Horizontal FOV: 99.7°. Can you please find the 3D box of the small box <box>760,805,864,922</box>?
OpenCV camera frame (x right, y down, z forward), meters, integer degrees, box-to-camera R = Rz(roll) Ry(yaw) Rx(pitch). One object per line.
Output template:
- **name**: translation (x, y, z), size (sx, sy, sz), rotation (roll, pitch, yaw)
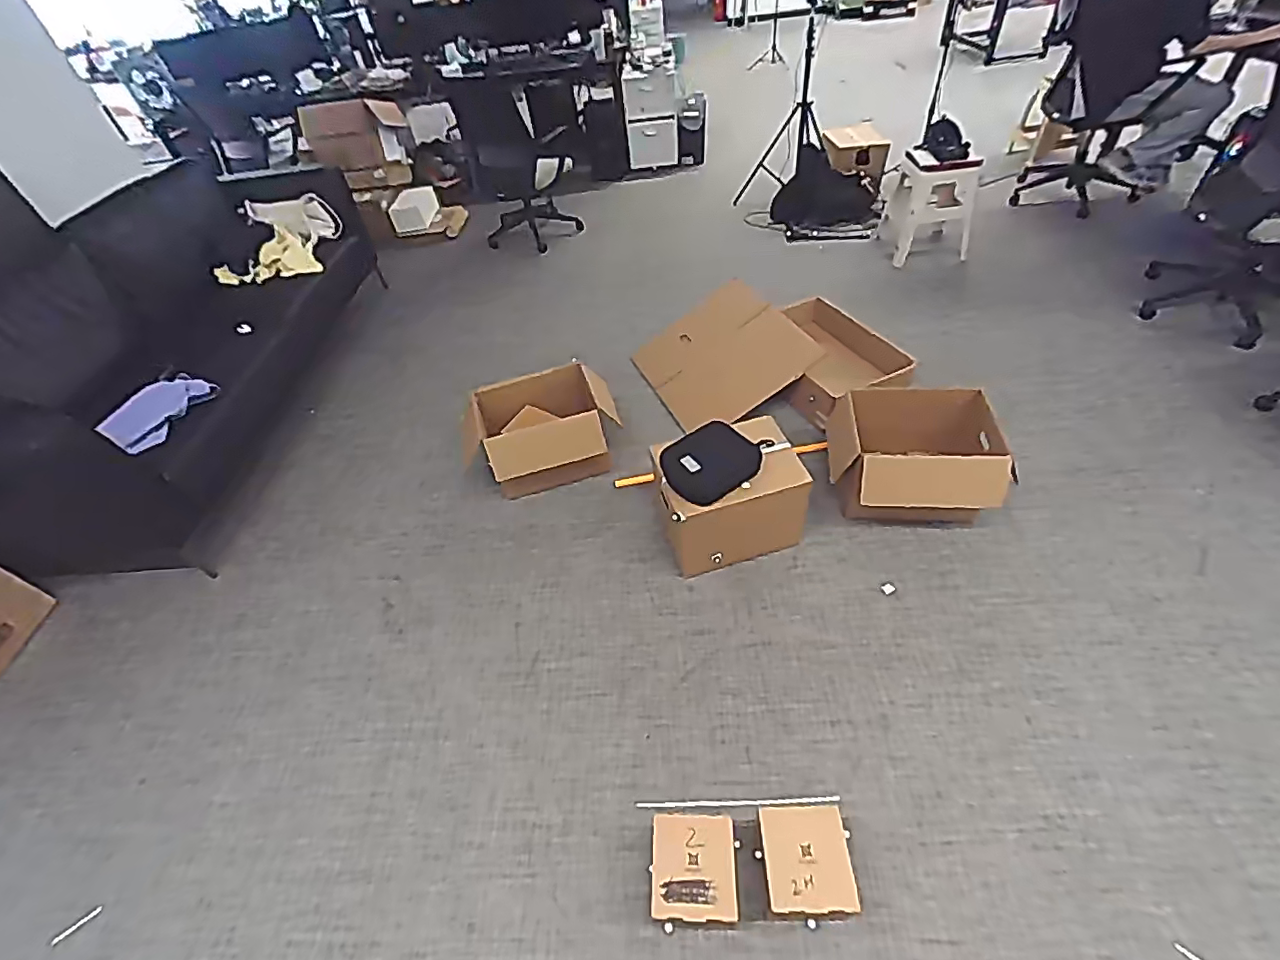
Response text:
- **small box**: translation (0.343, 0.794, 1.118), size (0.168, 0.176, 0.179), rotation (-5, 47, 6)
